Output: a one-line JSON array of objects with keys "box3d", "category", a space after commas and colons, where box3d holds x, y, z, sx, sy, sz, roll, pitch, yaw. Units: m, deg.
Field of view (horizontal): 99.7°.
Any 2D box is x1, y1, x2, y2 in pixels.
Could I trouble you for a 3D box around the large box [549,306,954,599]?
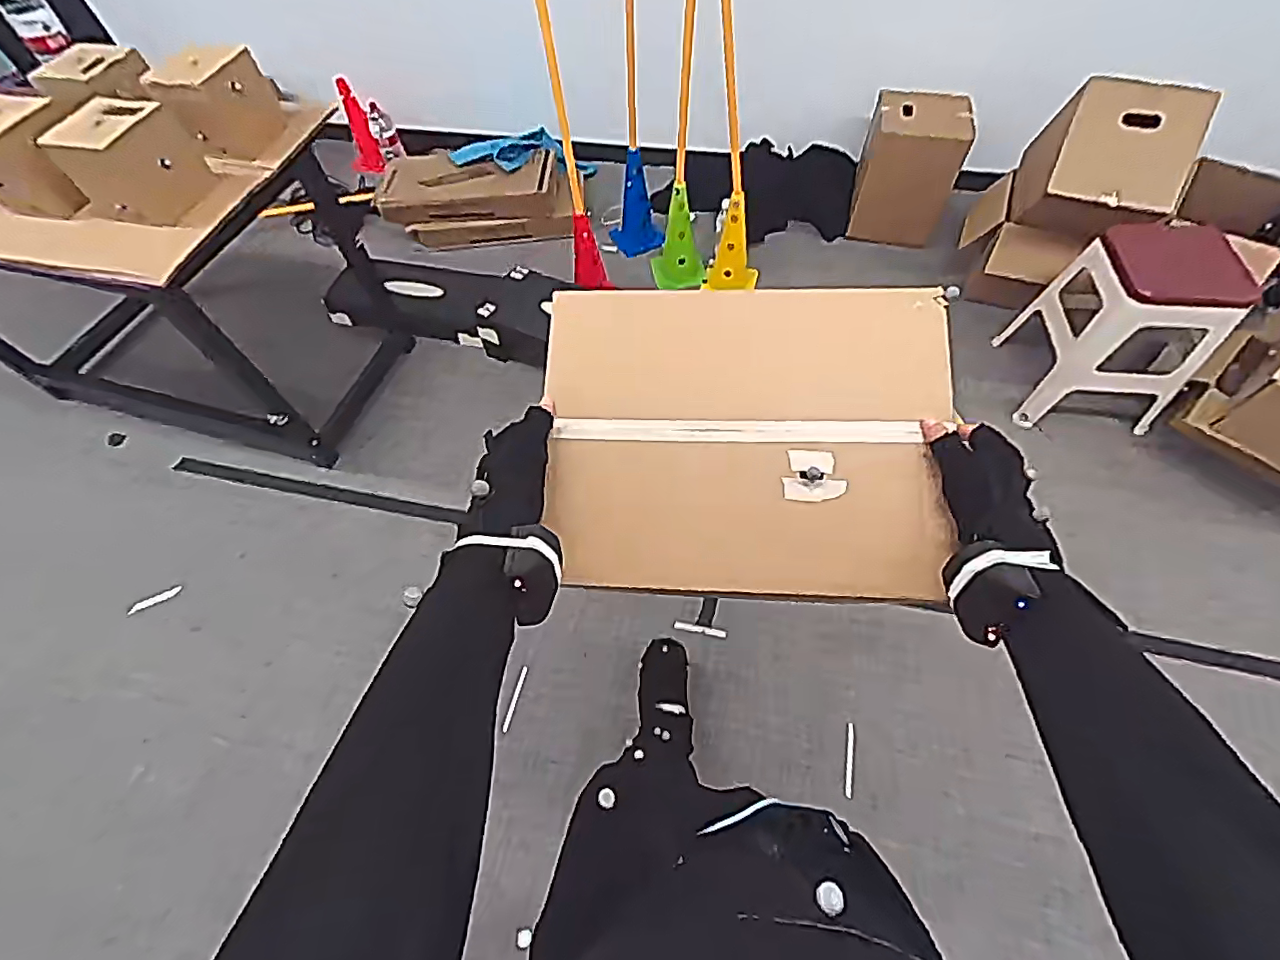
[{"box3d": [0.117, -0.007, 0.706, 0.408, 0.320, 0.320, 1, 78, 5], "category": "large box"}]
